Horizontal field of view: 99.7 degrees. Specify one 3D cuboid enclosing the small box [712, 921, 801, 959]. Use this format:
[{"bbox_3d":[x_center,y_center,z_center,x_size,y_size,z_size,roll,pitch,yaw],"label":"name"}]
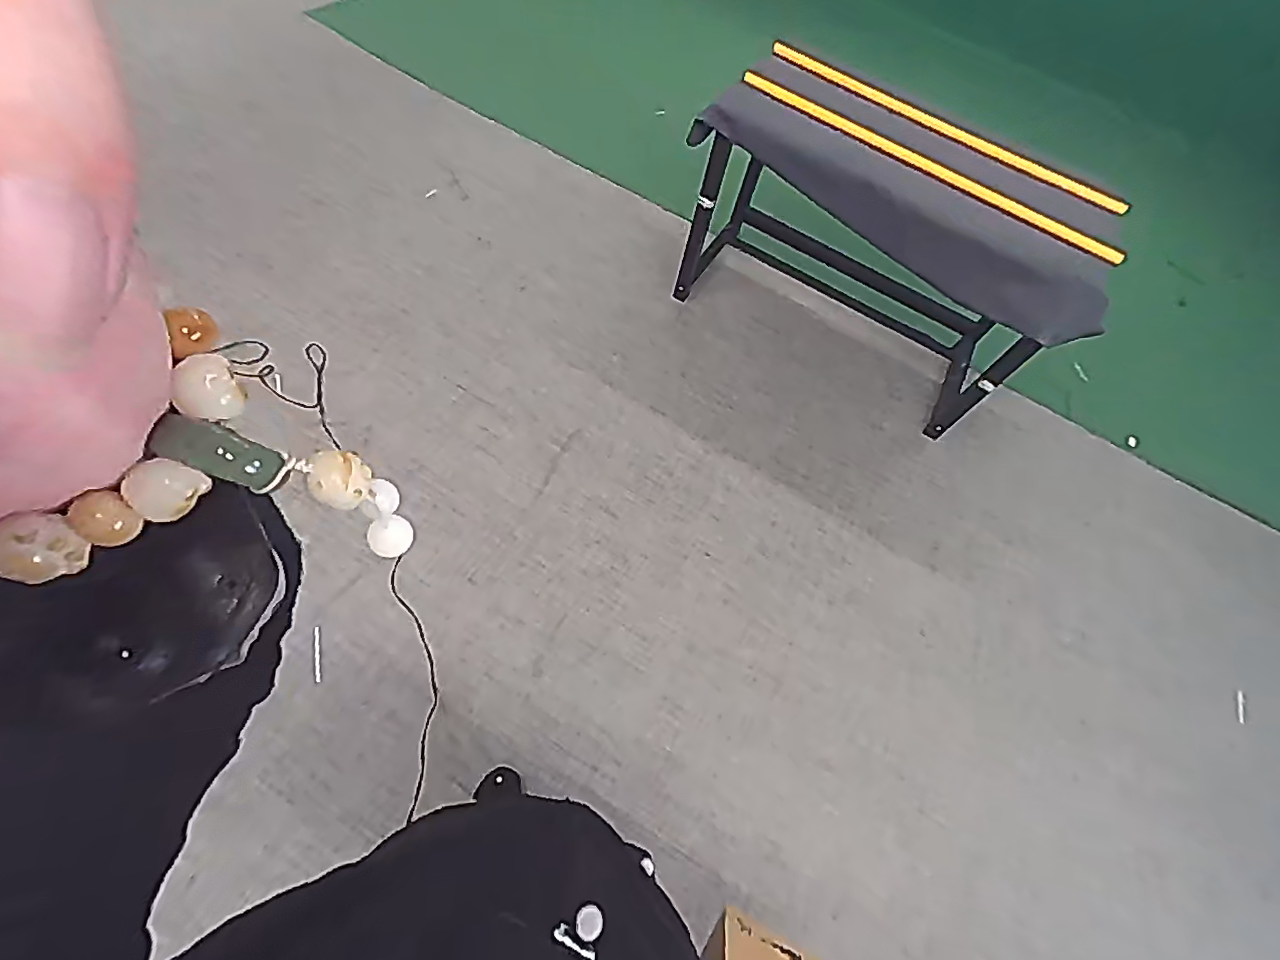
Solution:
[{"bbox_3d":[0.157,0.737,0.684,0.168,0.179,0.176,23,89,9],"label":"small box"}]
